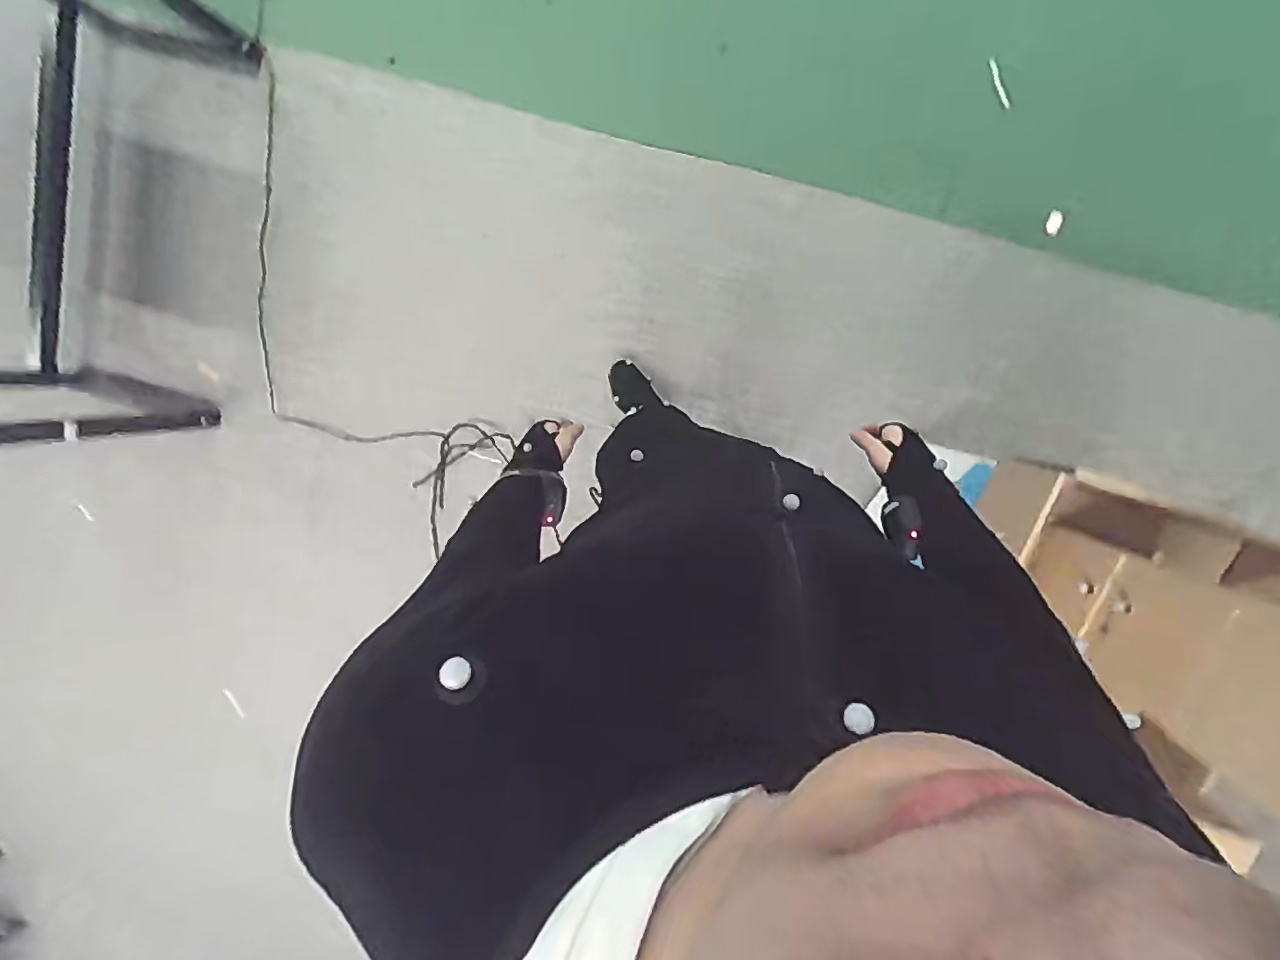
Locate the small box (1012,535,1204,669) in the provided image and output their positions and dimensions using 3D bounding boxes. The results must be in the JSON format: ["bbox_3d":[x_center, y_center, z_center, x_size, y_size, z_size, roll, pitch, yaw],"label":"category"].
[{"bbox_3d":[0.731,0.200,0.831,0.179,0.176,0.168,18,102,3],"label":"small box"}]

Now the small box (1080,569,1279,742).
[{"bbox_3d":[0.718,0.230,0.671,0.179,0.176,0.168,19,102,3],"label":"small box"}]
